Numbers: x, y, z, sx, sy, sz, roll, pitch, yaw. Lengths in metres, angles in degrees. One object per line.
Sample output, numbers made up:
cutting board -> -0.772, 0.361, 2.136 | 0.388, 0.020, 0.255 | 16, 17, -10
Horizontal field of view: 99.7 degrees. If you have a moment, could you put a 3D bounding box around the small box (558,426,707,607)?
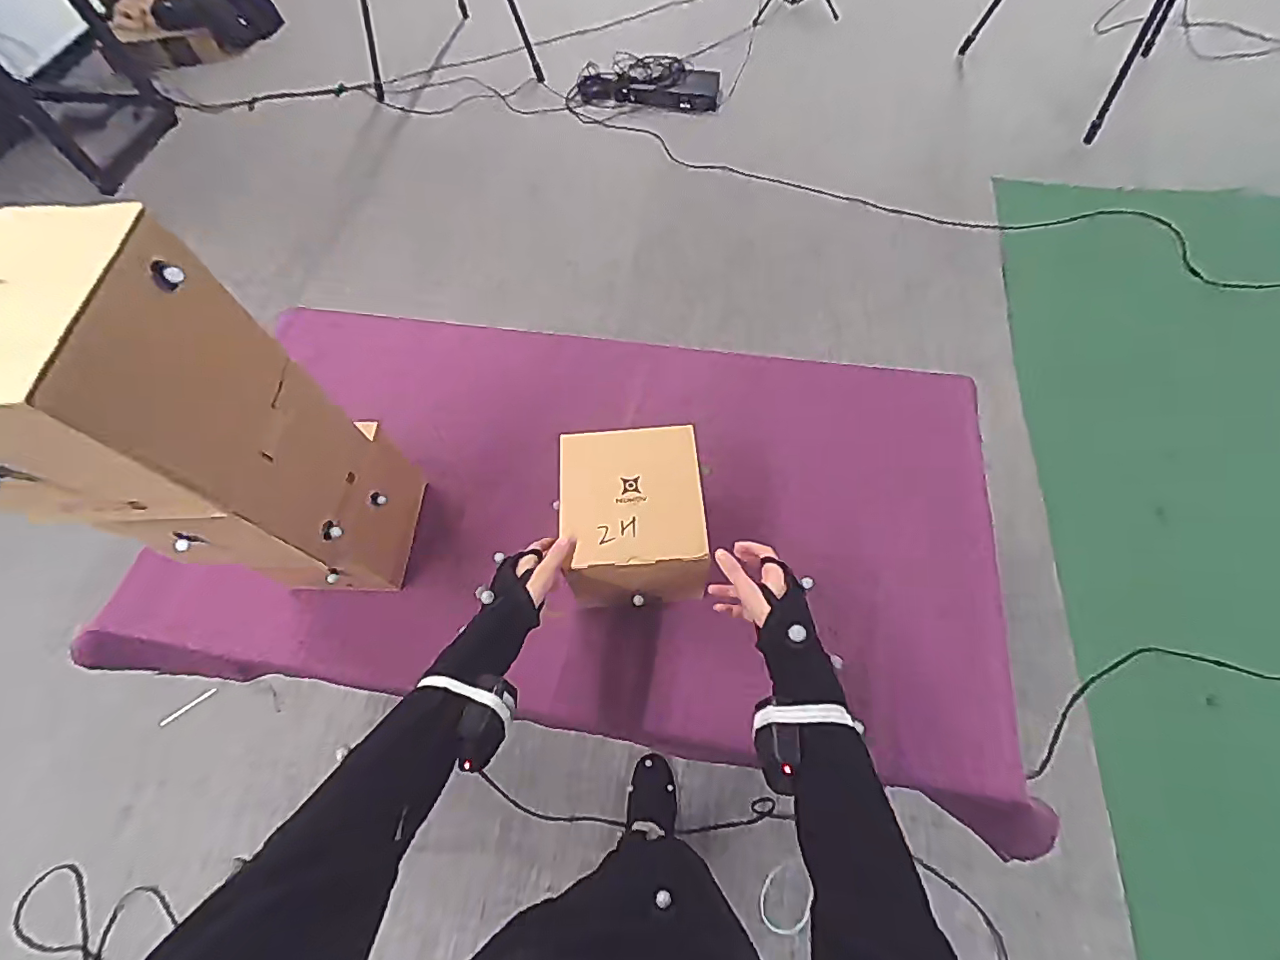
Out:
small box -> -0.008, 0.052, 0.693 | 0.168, 0.176, 0.179 | -4, 62, 1

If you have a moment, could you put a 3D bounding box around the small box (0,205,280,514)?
small box -> -0.425, -0.079, 0.421 | 0.168, 0.176, 0.179 | -2, 62, 1

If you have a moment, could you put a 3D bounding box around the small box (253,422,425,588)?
small box -> -0.412, 0.038, 0.727 | 0.168, 0.176, 0.179 | 2, 62, 3

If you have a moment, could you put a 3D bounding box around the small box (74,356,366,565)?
small box -> -0.426, -0.015, 0.570 | 0.179, 0.176, 0.168 | 1, 63, 4
